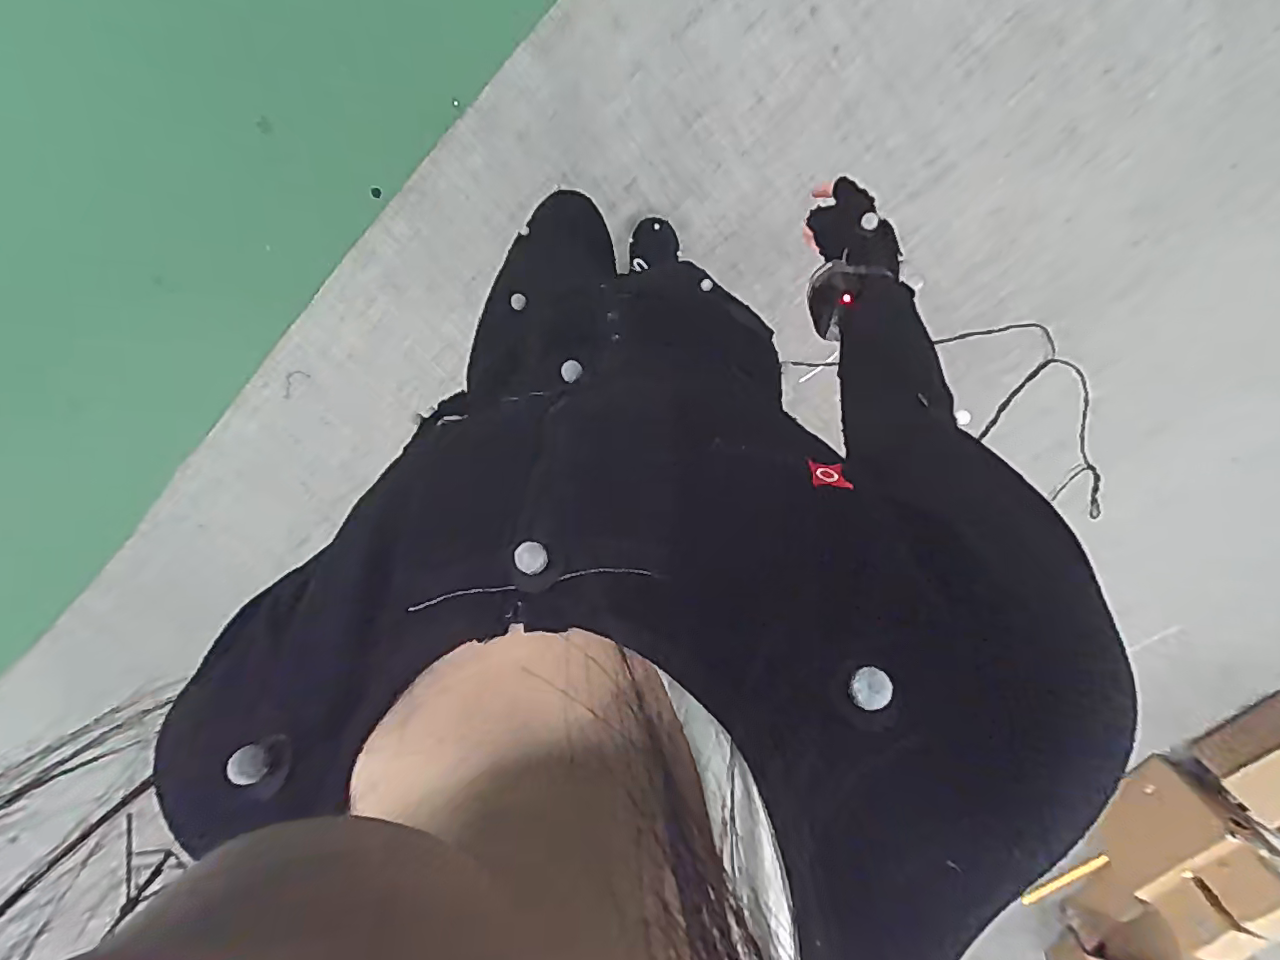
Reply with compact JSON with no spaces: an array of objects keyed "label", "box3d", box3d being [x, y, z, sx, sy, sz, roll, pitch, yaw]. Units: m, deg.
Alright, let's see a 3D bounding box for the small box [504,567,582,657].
[{"label":"small box","box3d":[-0.292,0.405,1.677,0.168,0.176,0.179,37,112,-16]}]
